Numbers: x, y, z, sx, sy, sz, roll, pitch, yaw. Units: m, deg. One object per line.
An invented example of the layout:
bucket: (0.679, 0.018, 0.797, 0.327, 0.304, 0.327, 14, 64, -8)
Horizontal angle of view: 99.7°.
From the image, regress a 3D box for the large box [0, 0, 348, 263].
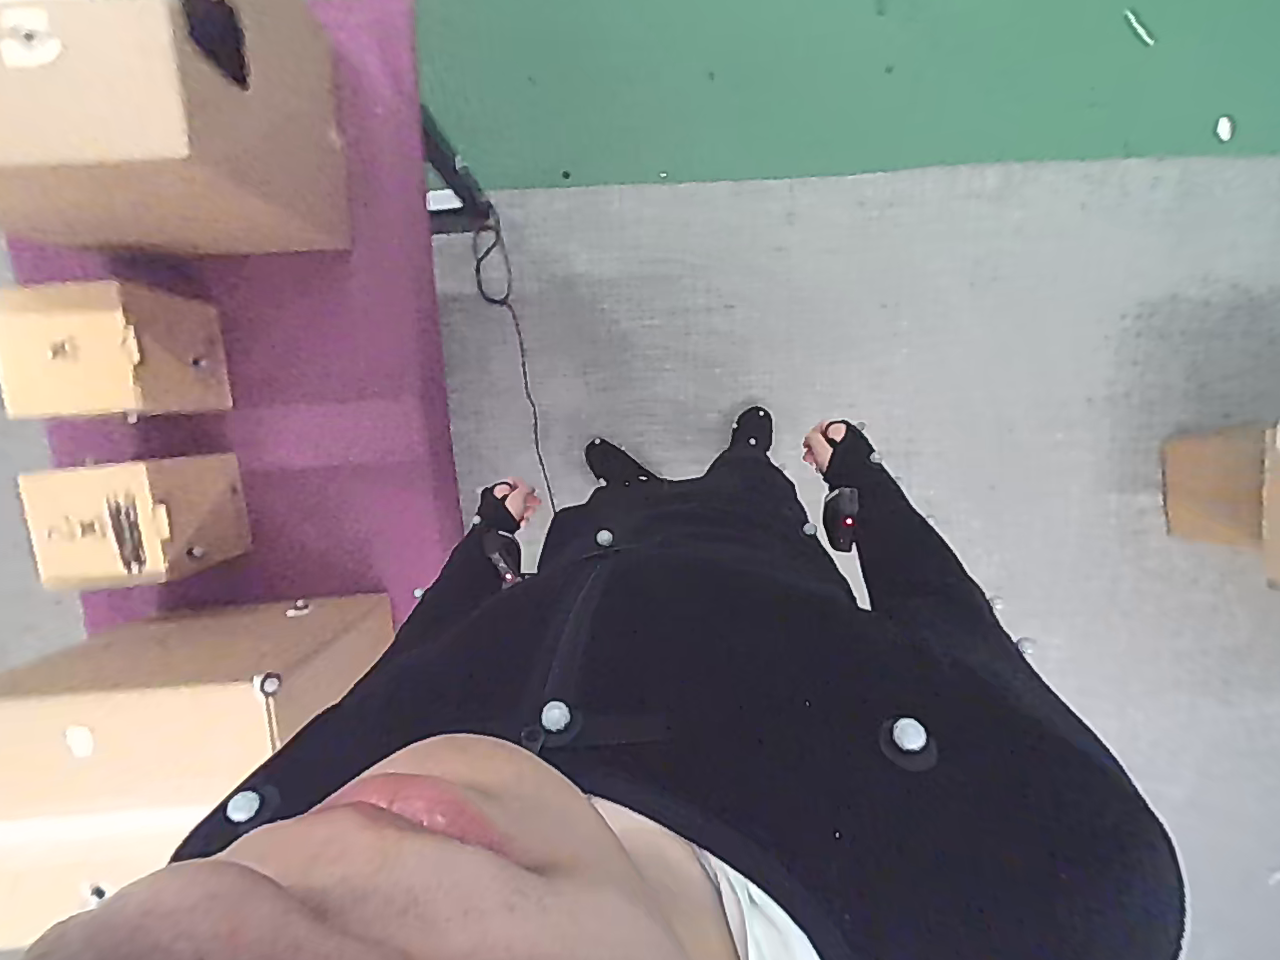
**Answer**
large box: (-0.651, -0.478, 0.666, 0.408, 0.320, 0.320, -4, 98, -1)
